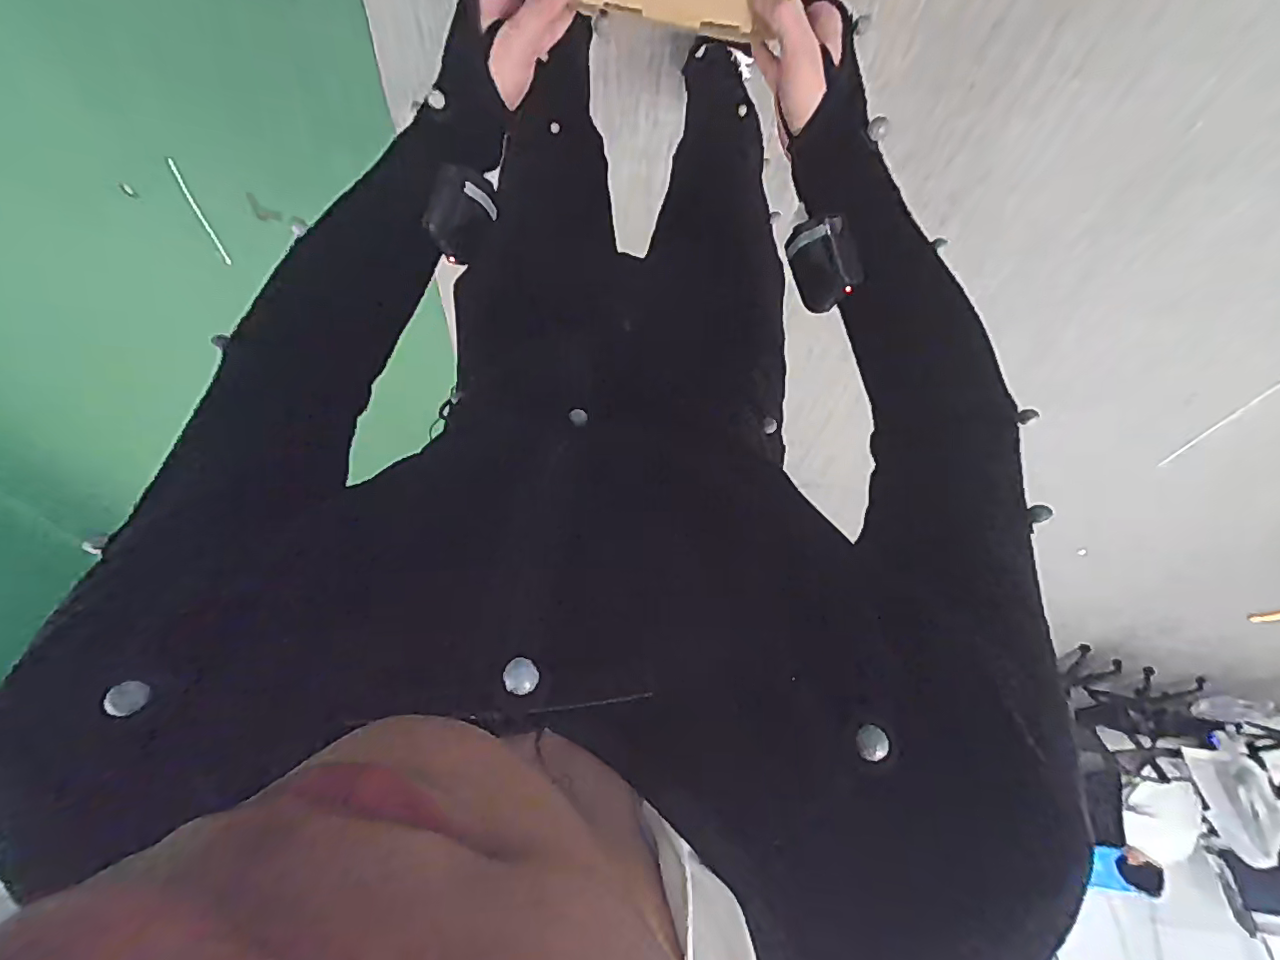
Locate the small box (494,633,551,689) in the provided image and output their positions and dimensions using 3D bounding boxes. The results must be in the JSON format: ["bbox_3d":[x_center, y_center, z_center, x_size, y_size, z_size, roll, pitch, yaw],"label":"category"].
[{"bbox_3d":[-0.468,0.724,2.171,0.179,0.176,0.168,8,147,1],"label":"small box"}]

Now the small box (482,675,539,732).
[{"bbox_3d":[-0.489,0.860,2.083,0.179,0.176,0.168,9,146,0],"label":"small box"}]
